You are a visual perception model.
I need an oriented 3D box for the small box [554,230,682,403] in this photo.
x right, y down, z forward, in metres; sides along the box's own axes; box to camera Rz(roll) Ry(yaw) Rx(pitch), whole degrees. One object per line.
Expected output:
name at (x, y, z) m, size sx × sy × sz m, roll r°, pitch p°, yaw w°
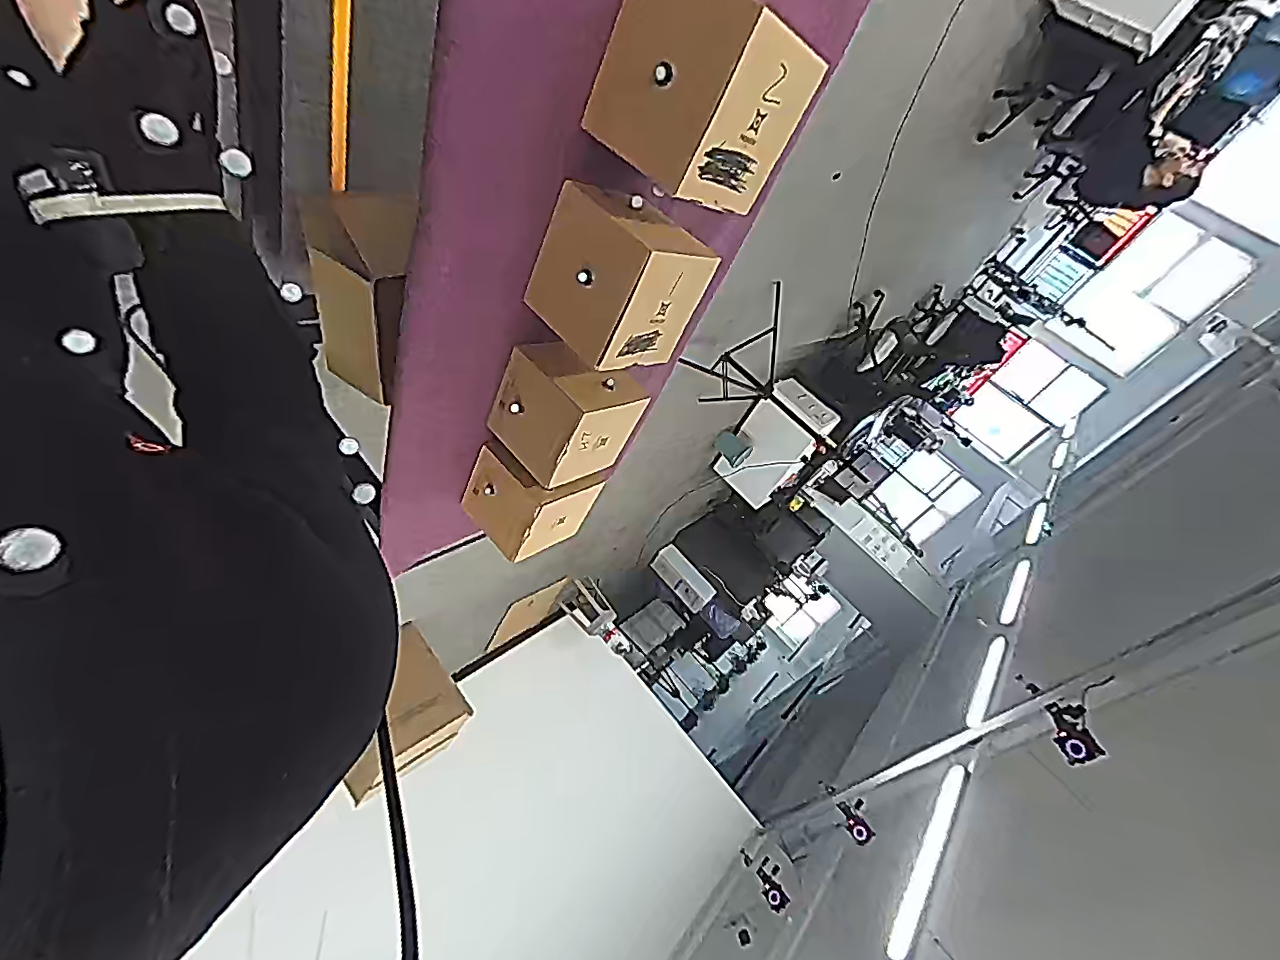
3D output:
small box at (-0.038, -0.235, 0.794) m, size 0.168 × 0.176 × 0.179 m, roll 3°, pitch 142°, yaw -8°

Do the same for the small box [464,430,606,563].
small box at (-0.205, 0.022, 1.044) m, size 0.179 × 0.176 × 0.168 m, roll -22°, pitch 152°, yaw -50°
